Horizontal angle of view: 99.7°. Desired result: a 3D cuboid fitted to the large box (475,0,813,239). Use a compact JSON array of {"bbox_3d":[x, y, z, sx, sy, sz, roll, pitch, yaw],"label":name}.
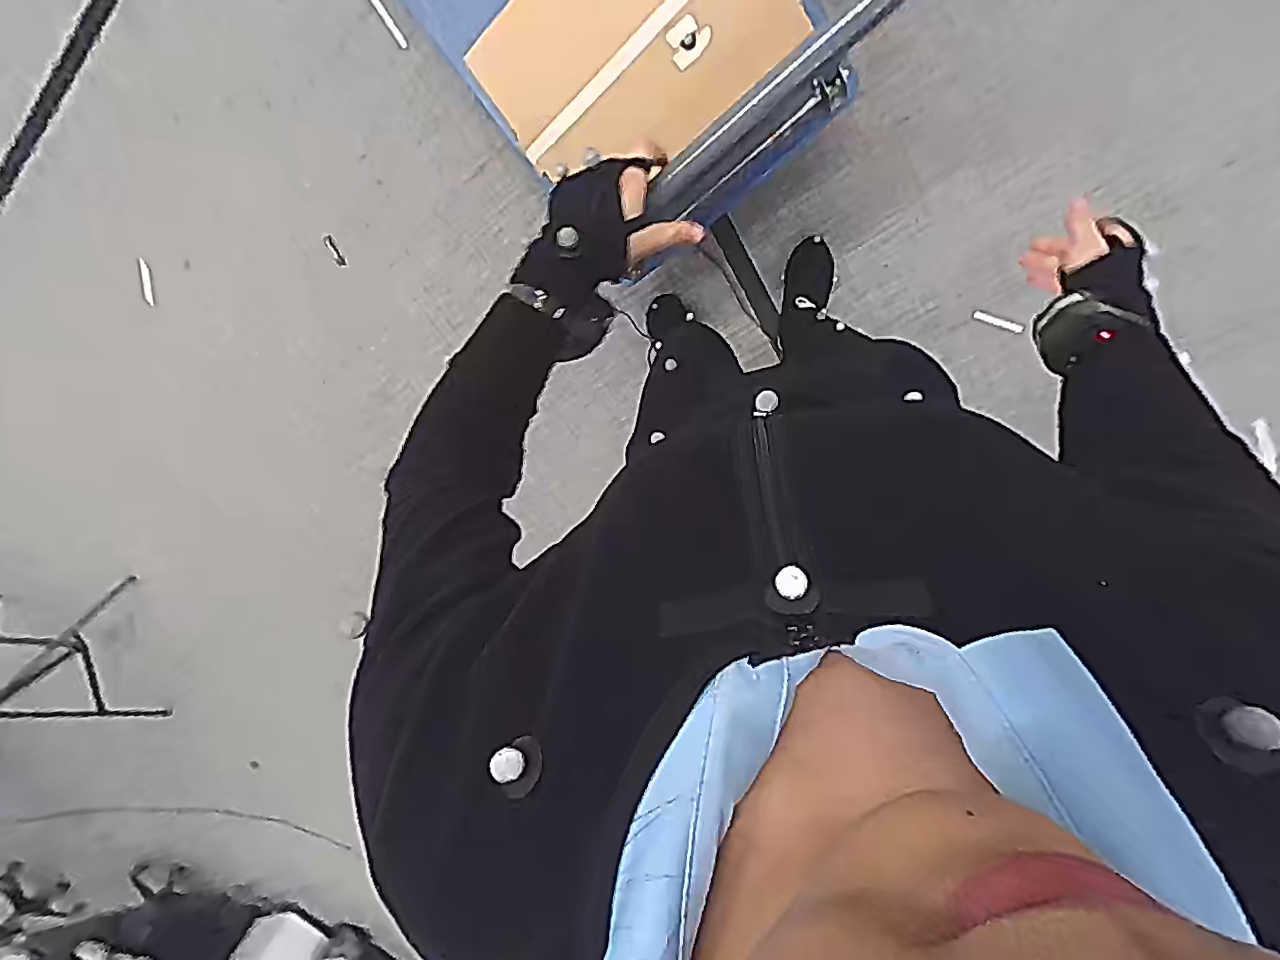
[{"bbox_3d":[0.015,-0.668,0.900,0.408,0.320,0.320,-33,108,23],"label":"large box"}]
